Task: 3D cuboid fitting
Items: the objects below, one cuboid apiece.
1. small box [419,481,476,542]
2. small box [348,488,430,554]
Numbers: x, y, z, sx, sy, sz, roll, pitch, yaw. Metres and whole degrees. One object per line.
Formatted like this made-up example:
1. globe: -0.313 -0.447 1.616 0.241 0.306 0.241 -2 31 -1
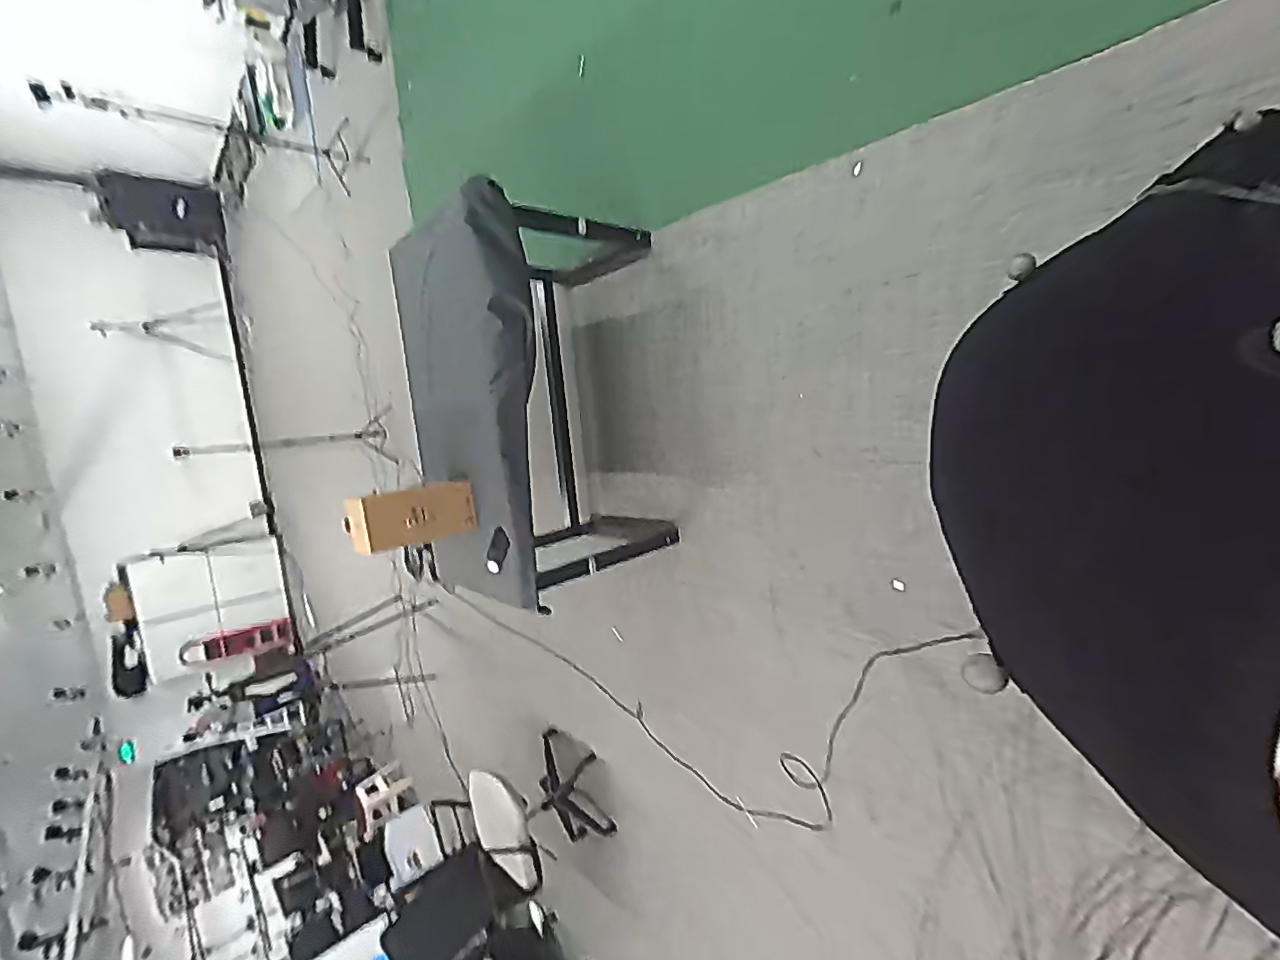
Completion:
1. small box: -0.643 0.097 1.750 0.179 0.176 0.168 -2 97 48
2. small box: -0.761 0.120 1.641 0.179 0.176 0.168 -4 97 46
